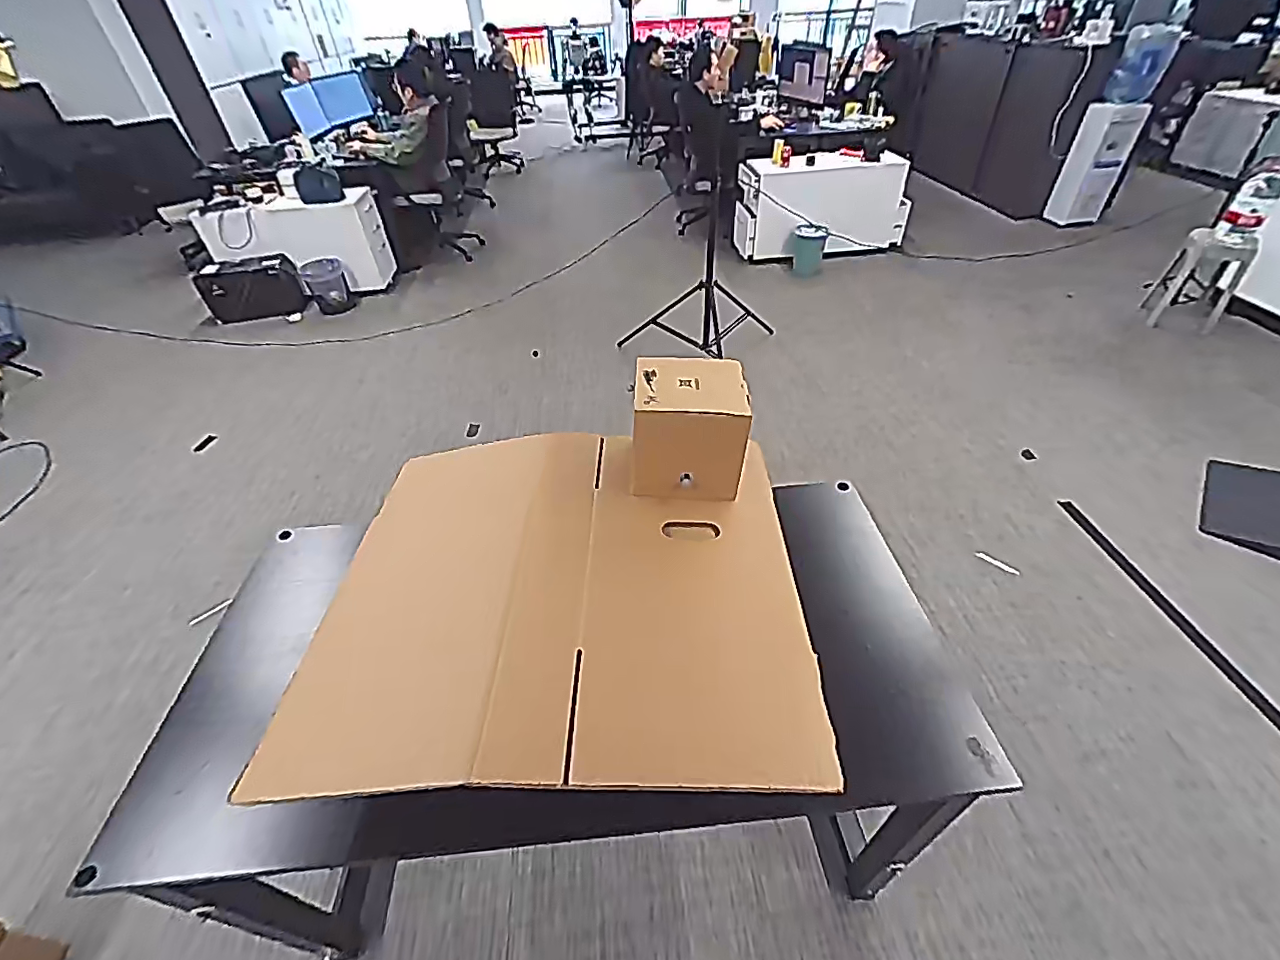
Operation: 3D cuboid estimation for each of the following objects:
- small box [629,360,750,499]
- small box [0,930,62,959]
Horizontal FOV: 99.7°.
[{"bbox_3d":[0.075,-0.083,0.904,0.179,0.176,0.168,3,40,0],"label":"small box"},{"bbox_3d":[-1.338,1.041,1.080,0.168,0.176,0.179,-8,42,-5],"label":"small box"}]
